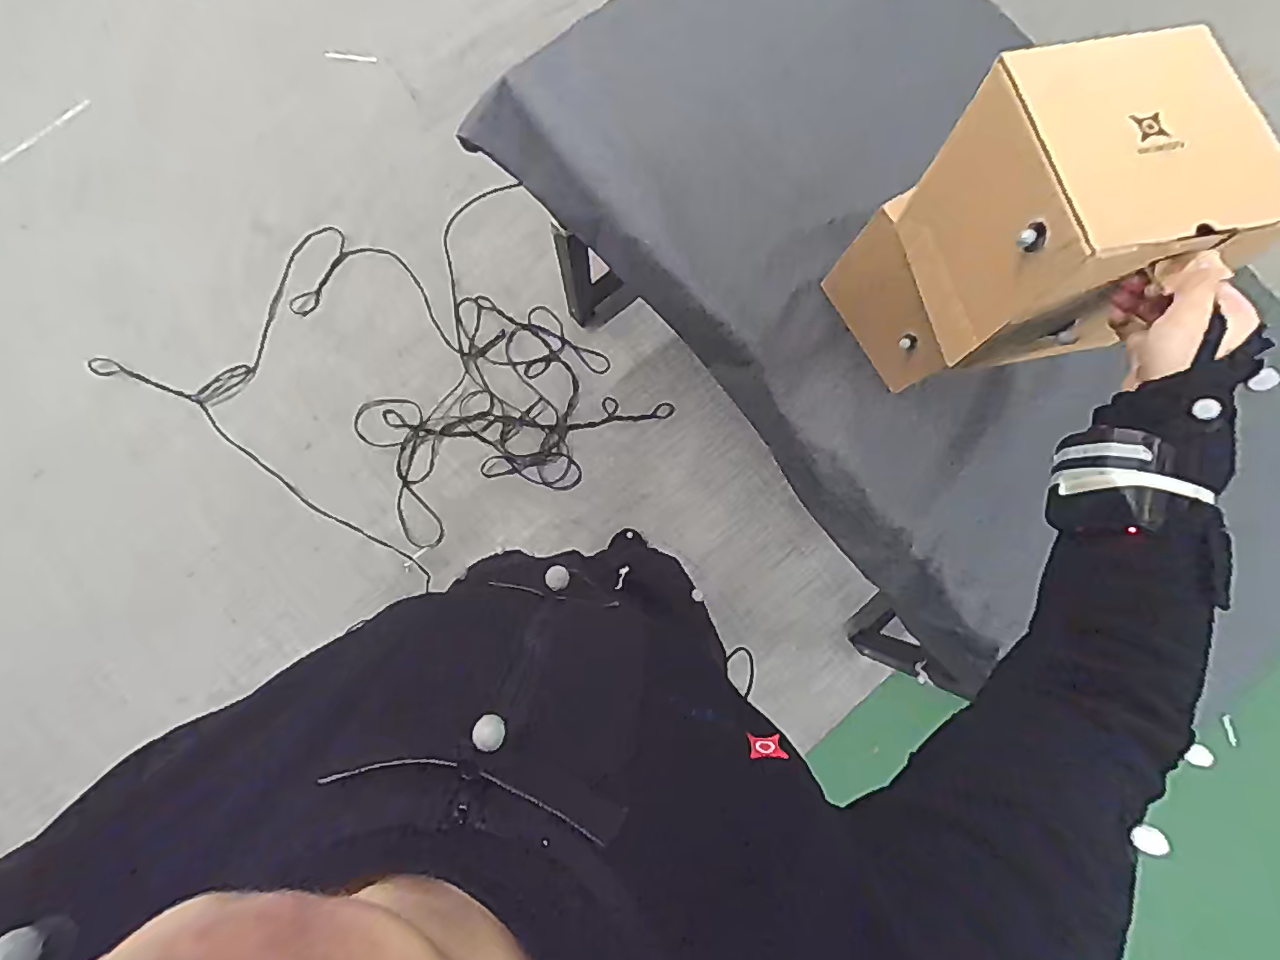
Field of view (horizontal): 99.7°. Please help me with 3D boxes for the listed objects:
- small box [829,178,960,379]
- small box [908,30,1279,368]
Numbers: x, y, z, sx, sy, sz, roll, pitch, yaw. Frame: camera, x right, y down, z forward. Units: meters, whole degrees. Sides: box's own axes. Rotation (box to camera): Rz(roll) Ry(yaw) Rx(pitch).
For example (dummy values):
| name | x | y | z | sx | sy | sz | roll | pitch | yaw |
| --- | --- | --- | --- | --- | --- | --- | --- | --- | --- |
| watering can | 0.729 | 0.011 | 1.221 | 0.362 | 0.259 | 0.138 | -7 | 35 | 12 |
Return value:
| name | x | y | z | sx | sy | sz | roll | pitch | yaw |
| --- | --- | --- | --- | --- | --- | --- | --- | --- | --- |
| small box | 0.358 | -0.237 | 0.630 | 0.168 | 0.176 | 0.179 | -31 | 85 | -7 |
| small box | 0.358 | -0.218 | 0.450 | 0.168 | 0.176 | 0.179 | -10 | 75 | -3 |
